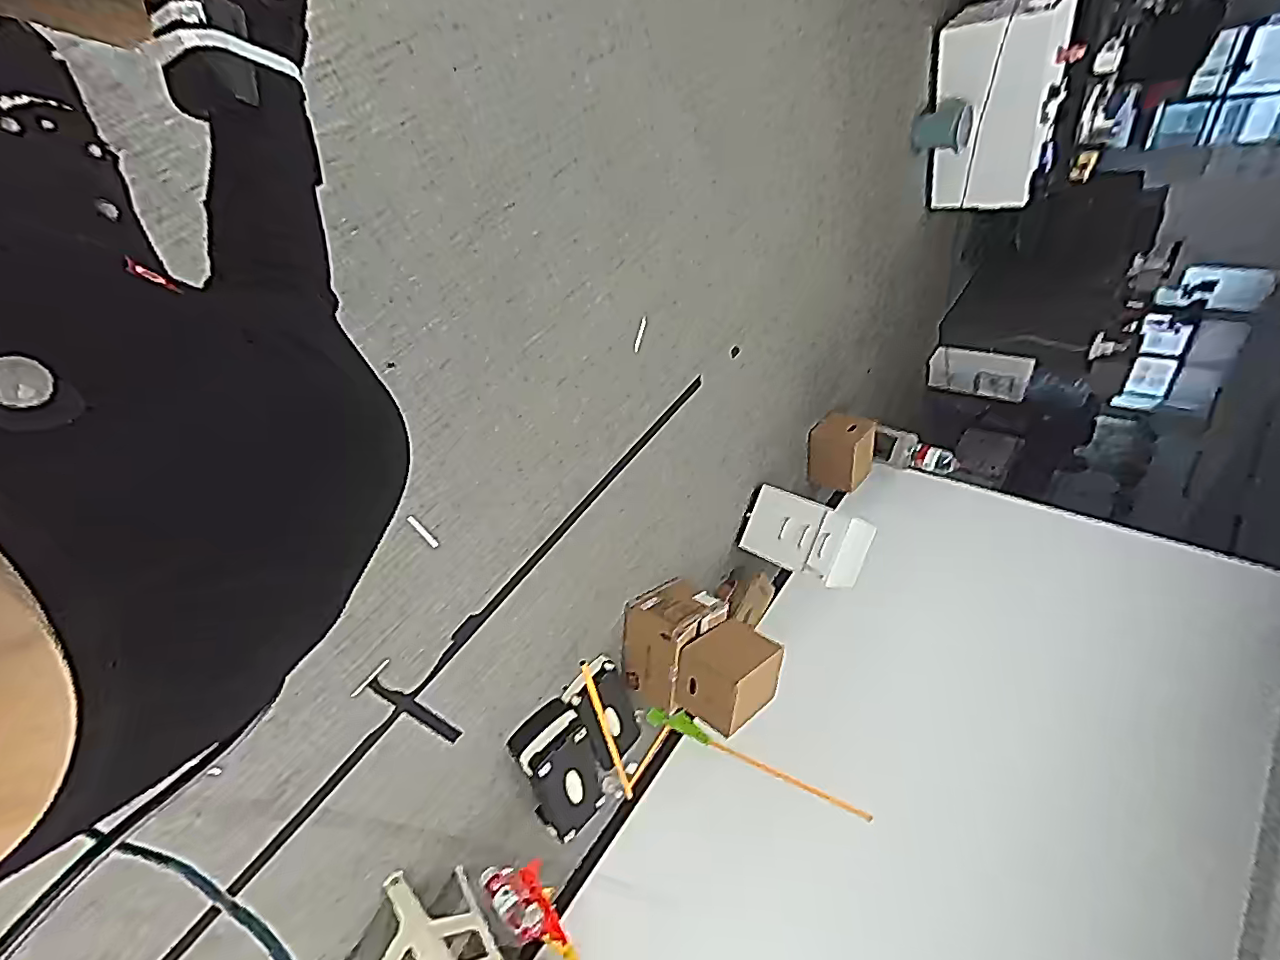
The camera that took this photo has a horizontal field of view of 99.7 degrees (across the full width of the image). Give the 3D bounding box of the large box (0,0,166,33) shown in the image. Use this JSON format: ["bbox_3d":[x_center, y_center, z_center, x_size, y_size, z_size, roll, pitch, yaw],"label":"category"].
[{"bbox_3d":[-0.527,-0.497,0.265,0.408,0.320,0.320,-17,124,-47],"label":"large box"}]
